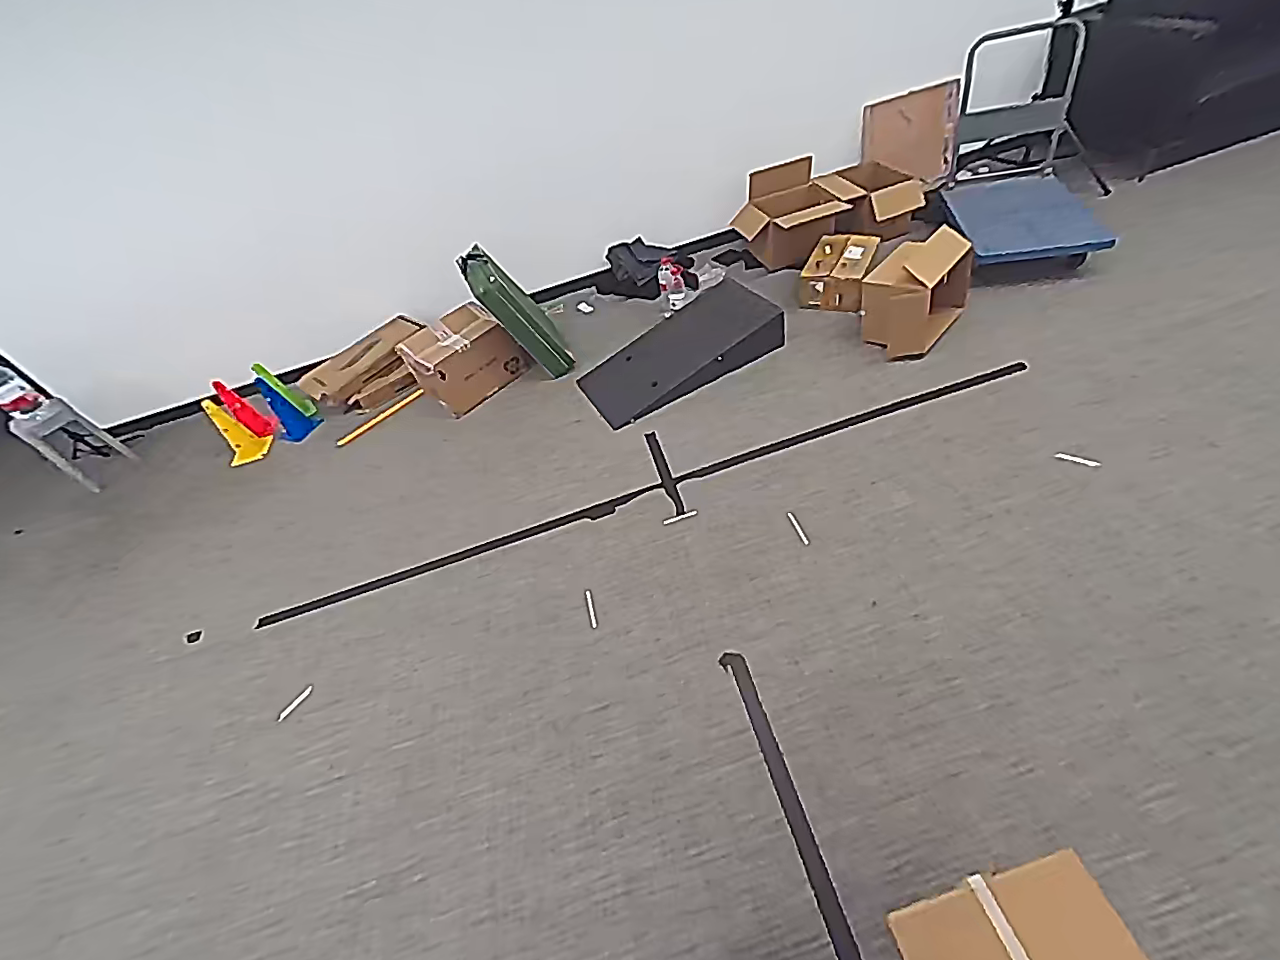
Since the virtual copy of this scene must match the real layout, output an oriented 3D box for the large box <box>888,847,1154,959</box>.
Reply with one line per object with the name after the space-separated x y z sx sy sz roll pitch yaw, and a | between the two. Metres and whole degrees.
0.639 0.861 0.833 0.320 0.320 0.408 -24 47 4 | large box
